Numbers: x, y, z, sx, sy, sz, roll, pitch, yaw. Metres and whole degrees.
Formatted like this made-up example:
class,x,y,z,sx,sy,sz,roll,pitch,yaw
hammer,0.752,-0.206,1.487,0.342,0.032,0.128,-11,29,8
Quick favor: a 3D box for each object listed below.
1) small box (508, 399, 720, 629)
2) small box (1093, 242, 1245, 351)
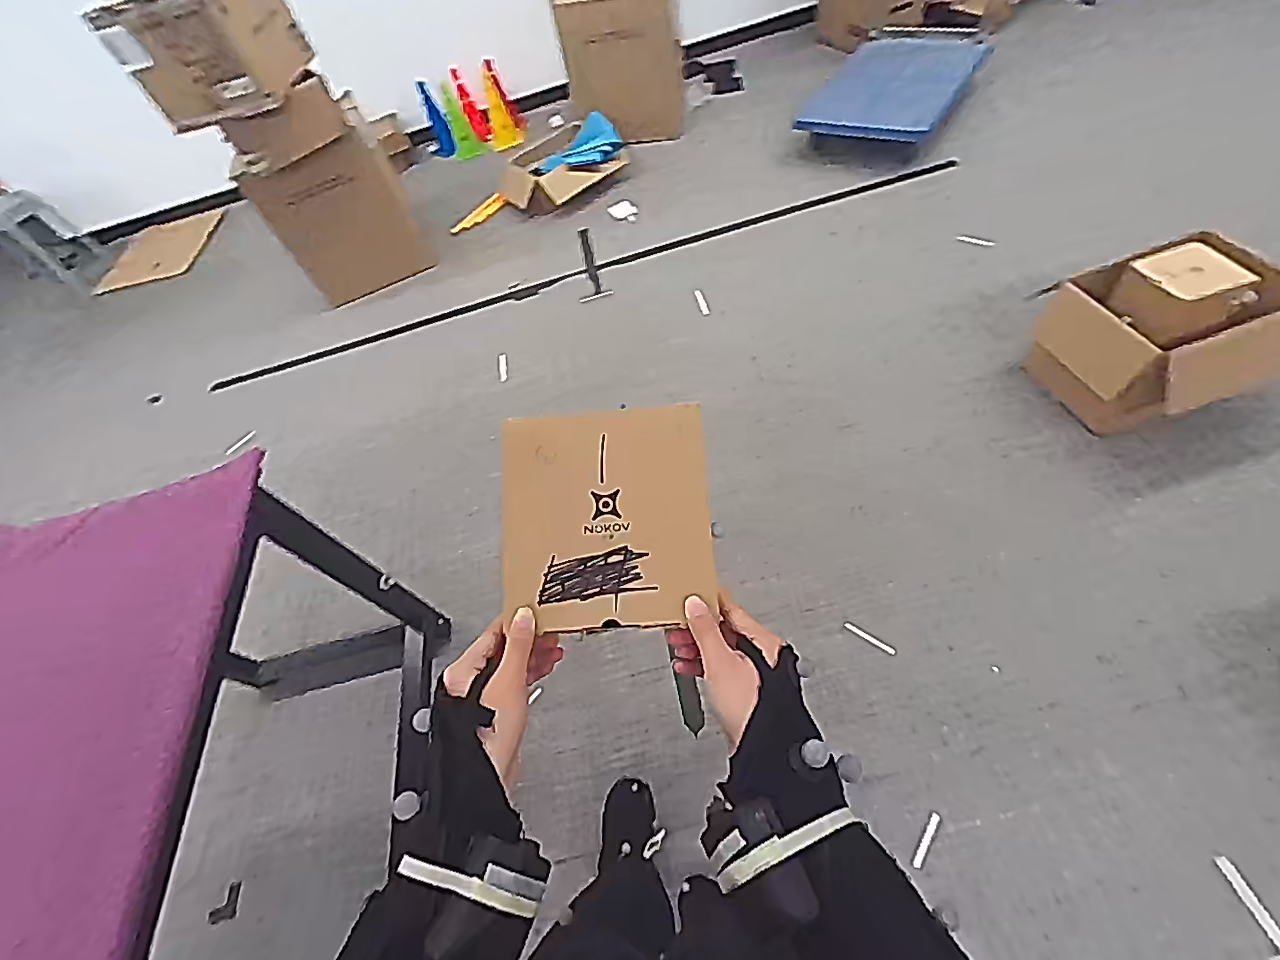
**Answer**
class,x,y,z,sx,sy,sz,roll,pitch,yaw
small box,-0.017,0.040,0.503,0.168,0.176,0.179,-4,77,3
small box,1.300,-0.453,1.347,0.179,0.176,0.168,-18,53,2
